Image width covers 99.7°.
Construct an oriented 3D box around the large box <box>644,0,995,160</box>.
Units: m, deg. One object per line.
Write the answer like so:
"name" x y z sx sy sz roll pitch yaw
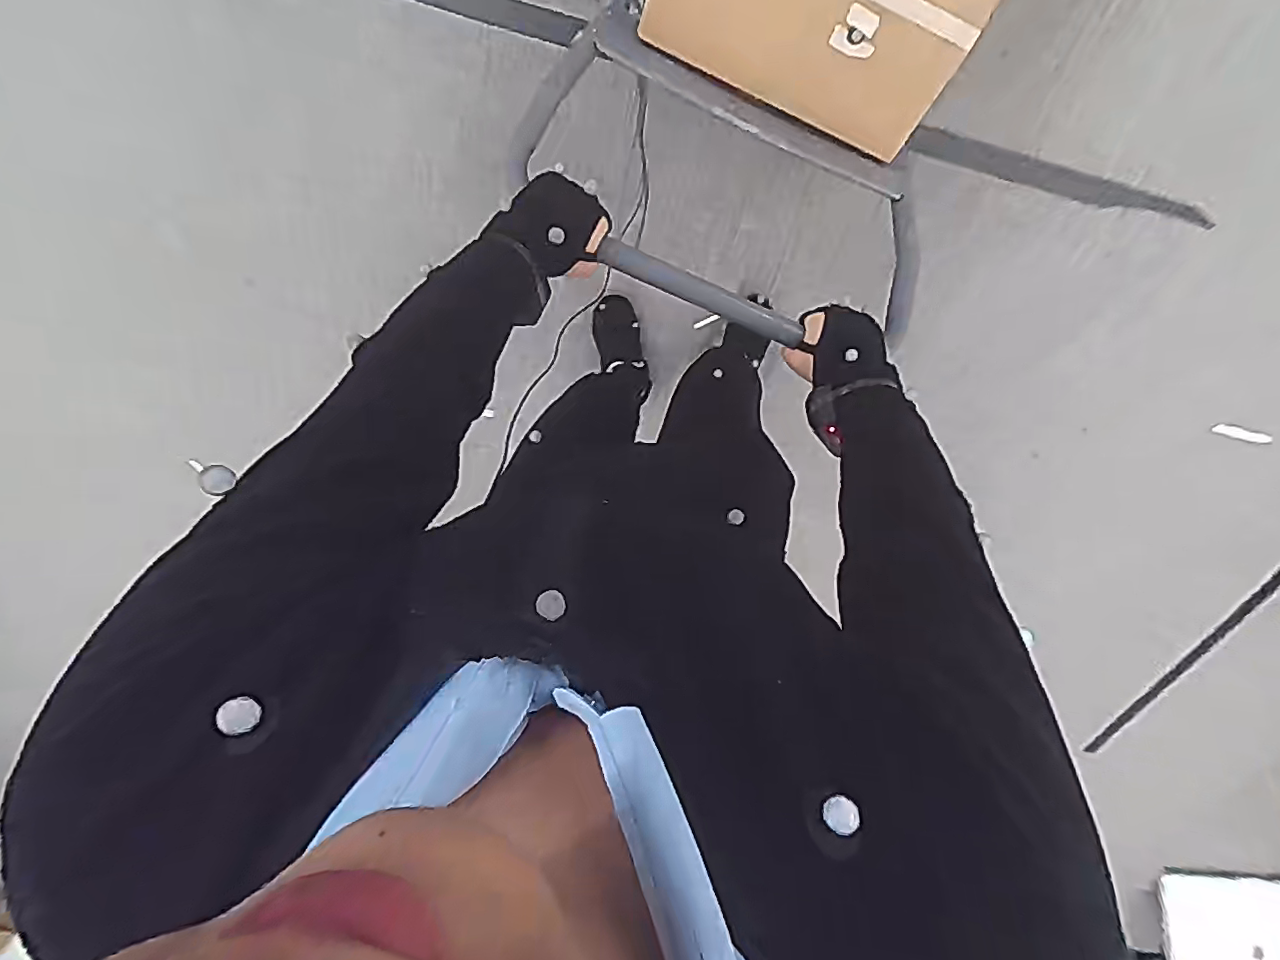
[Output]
"large box" 0.260 -0.738 0.756 0.408 0.320 0.320 21 142 -8
